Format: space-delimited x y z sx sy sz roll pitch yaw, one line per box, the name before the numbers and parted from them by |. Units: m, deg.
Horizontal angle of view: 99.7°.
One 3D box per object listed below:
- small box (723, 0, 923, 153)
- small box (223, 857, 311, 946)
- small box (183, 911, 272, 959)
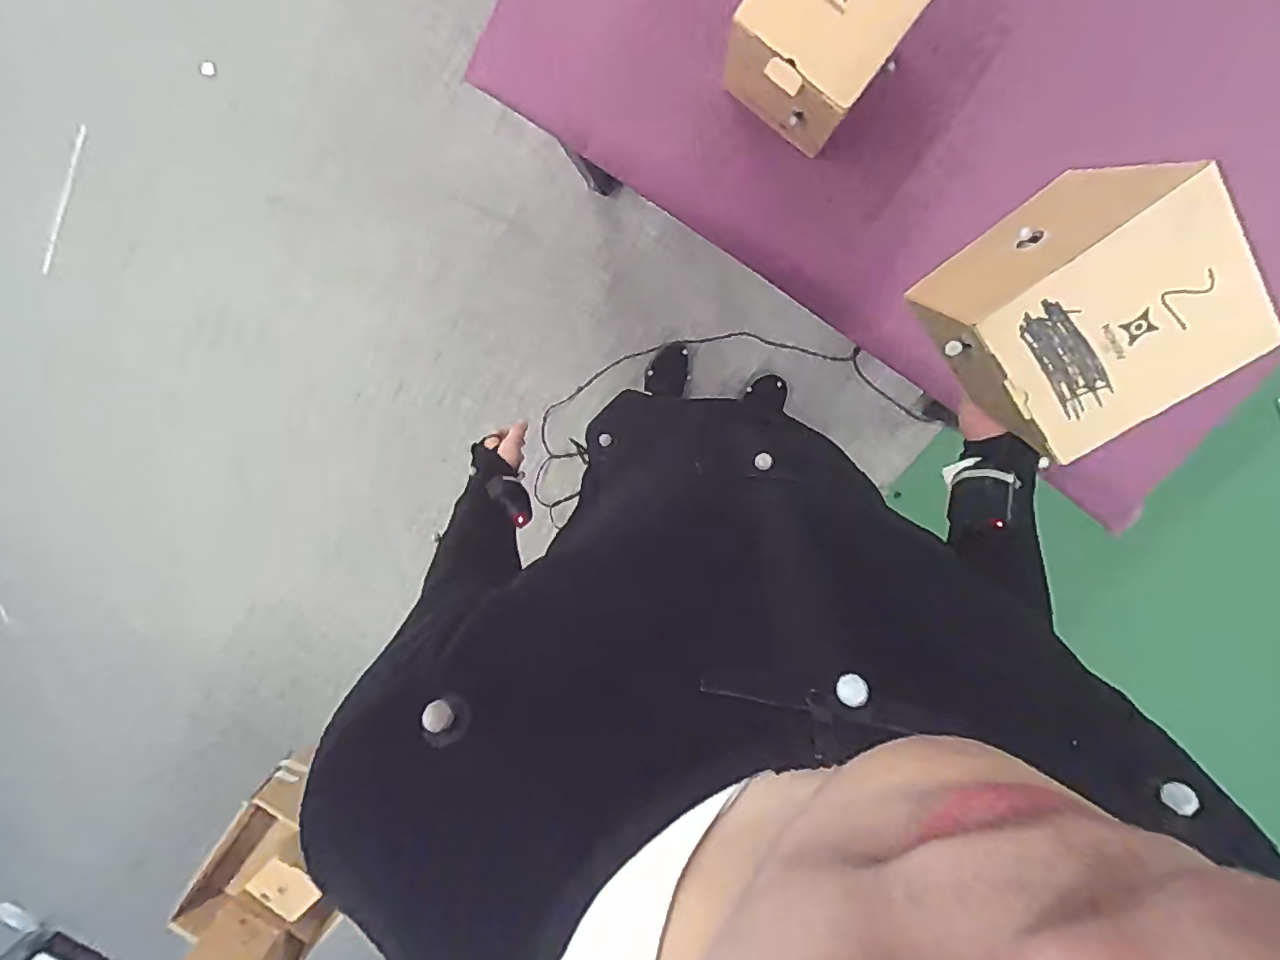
small box | 0.218 -0.552 0.671 0.168 0.176 0.179 37 104 -6
small box | -1.104 1.258 1.570 0.168 0.176 0.179 36 103 -5
small box | -1.114 1.294 1.412 0.168 0.176 0.179 35 103 -4
